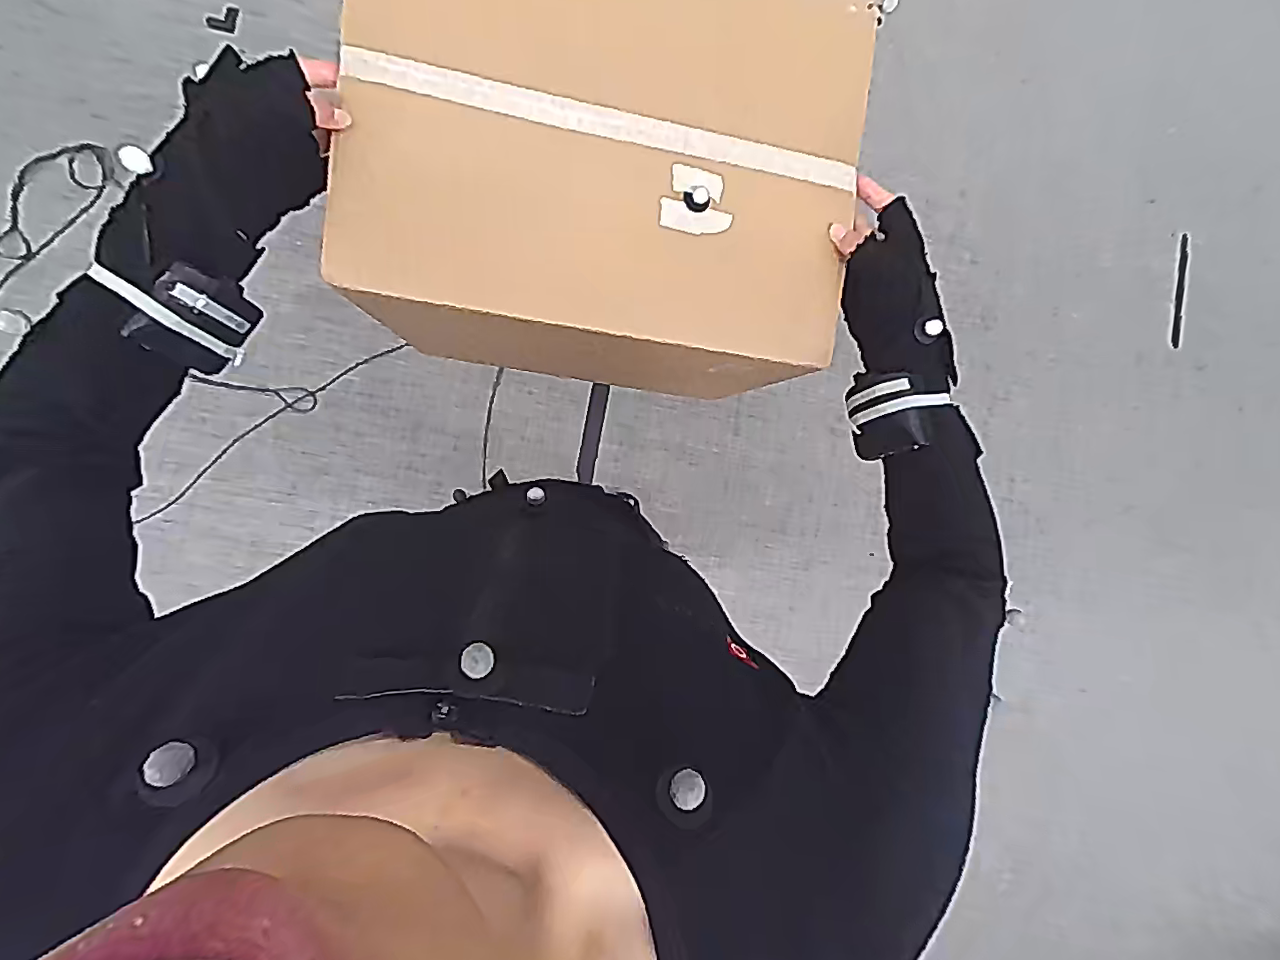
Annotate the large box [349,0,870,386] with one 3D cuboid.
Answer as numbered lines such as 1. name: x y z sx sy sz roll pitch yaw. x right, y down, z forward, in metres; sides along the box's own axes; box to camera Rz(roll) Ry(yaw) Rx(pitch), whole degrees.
1. large box: -0.038 -0.293 0.580 0.408 0.320 0.320 6 93 -11
